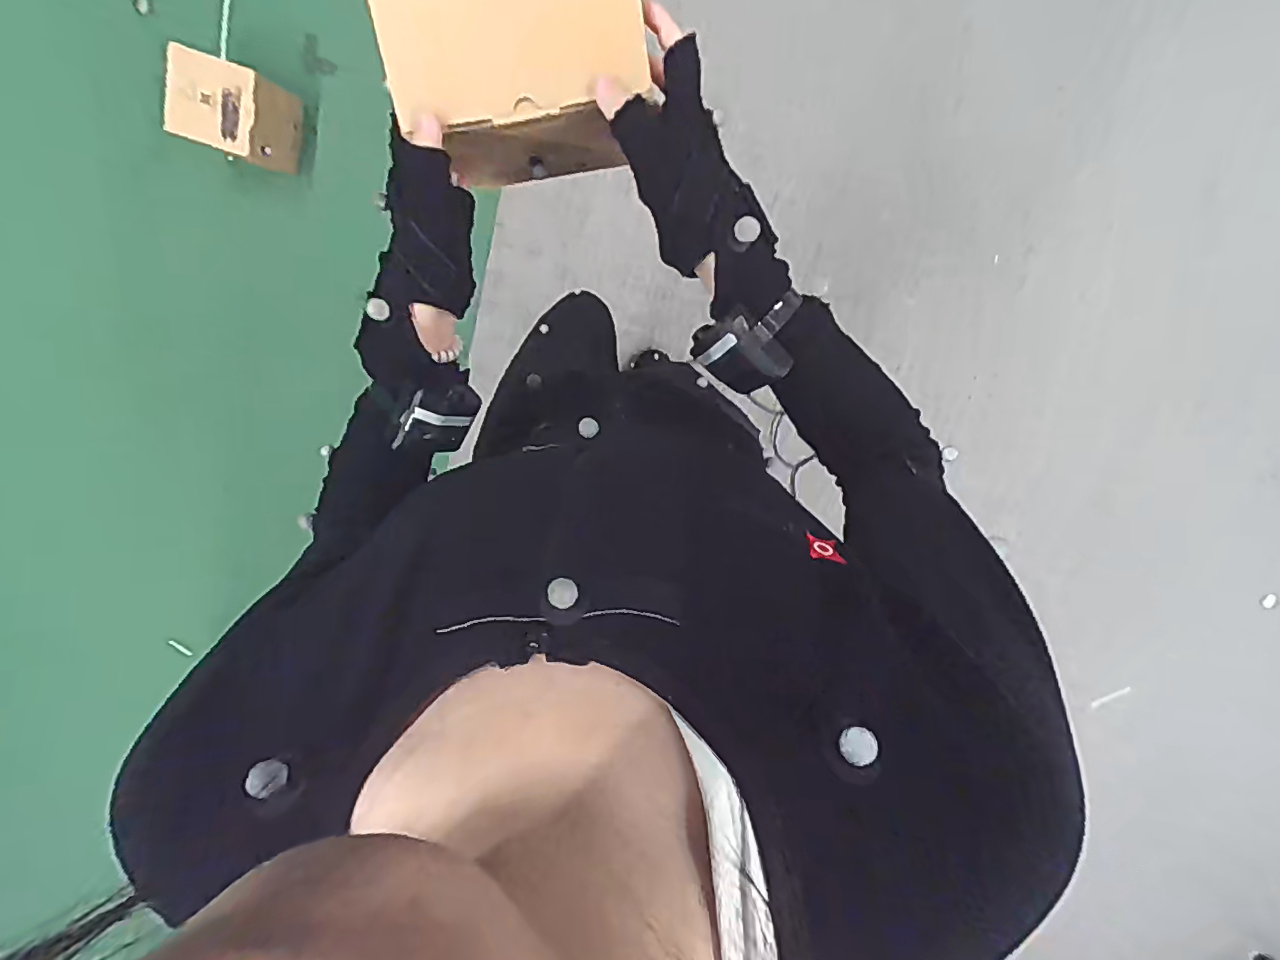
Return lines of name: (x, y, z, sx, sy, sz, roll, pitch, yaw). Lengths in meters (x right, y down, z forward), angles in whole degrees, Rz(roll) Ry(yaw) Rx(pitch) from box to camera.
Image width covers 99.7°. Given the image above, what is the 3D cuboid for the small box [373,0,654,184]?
small box: (-0.085, -0.341, 0.397, 0.168, 0.176, 0.179, -8, 109, 2)
